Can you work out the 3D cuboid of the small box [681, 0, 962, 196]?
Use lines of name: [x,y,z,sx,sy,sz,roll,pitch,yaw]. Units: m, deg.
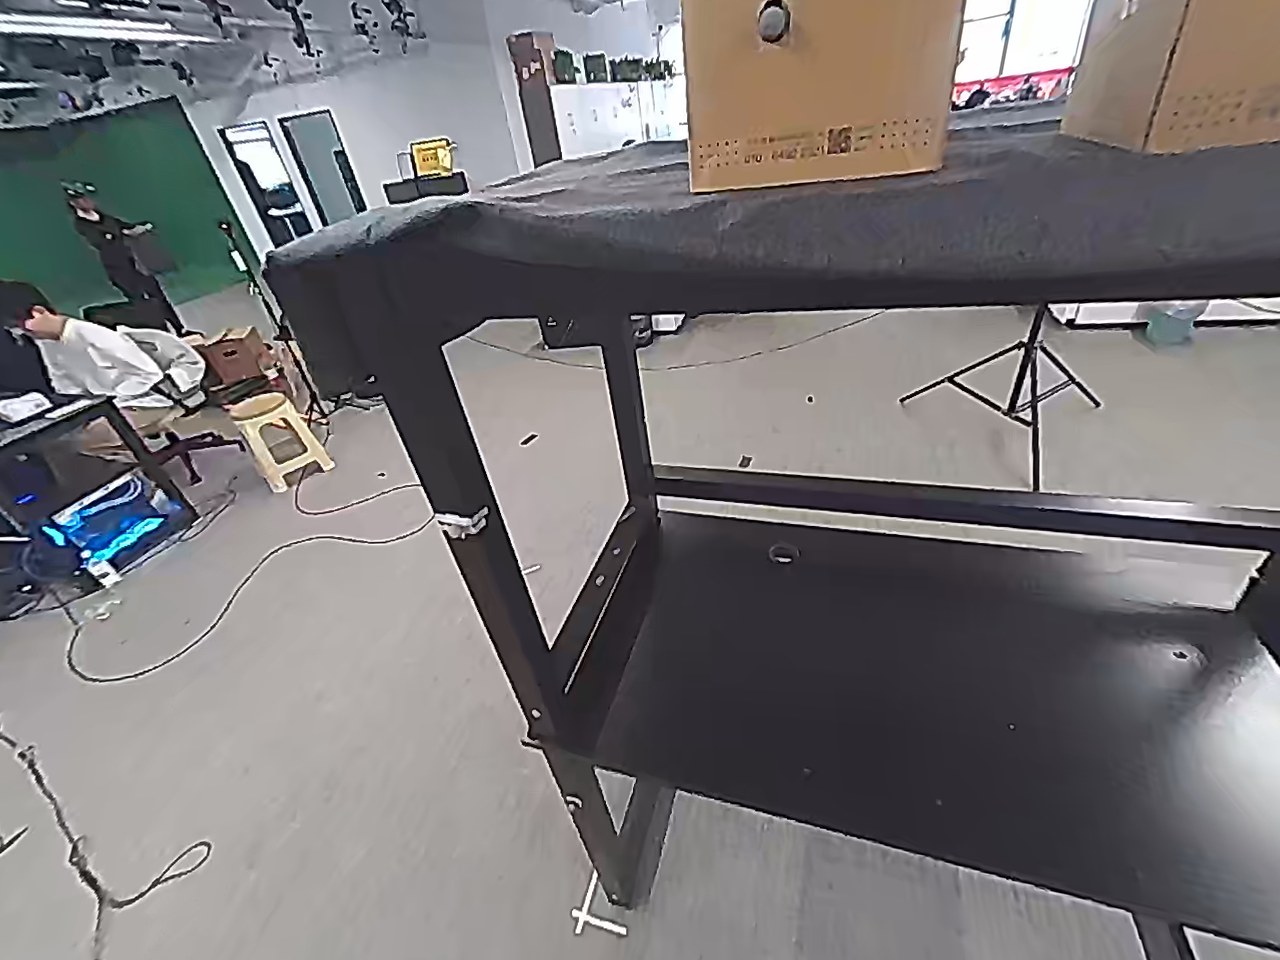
small box: [0.134,-0.312,0.393,0.168,0.176,0.179,6,35,21]
